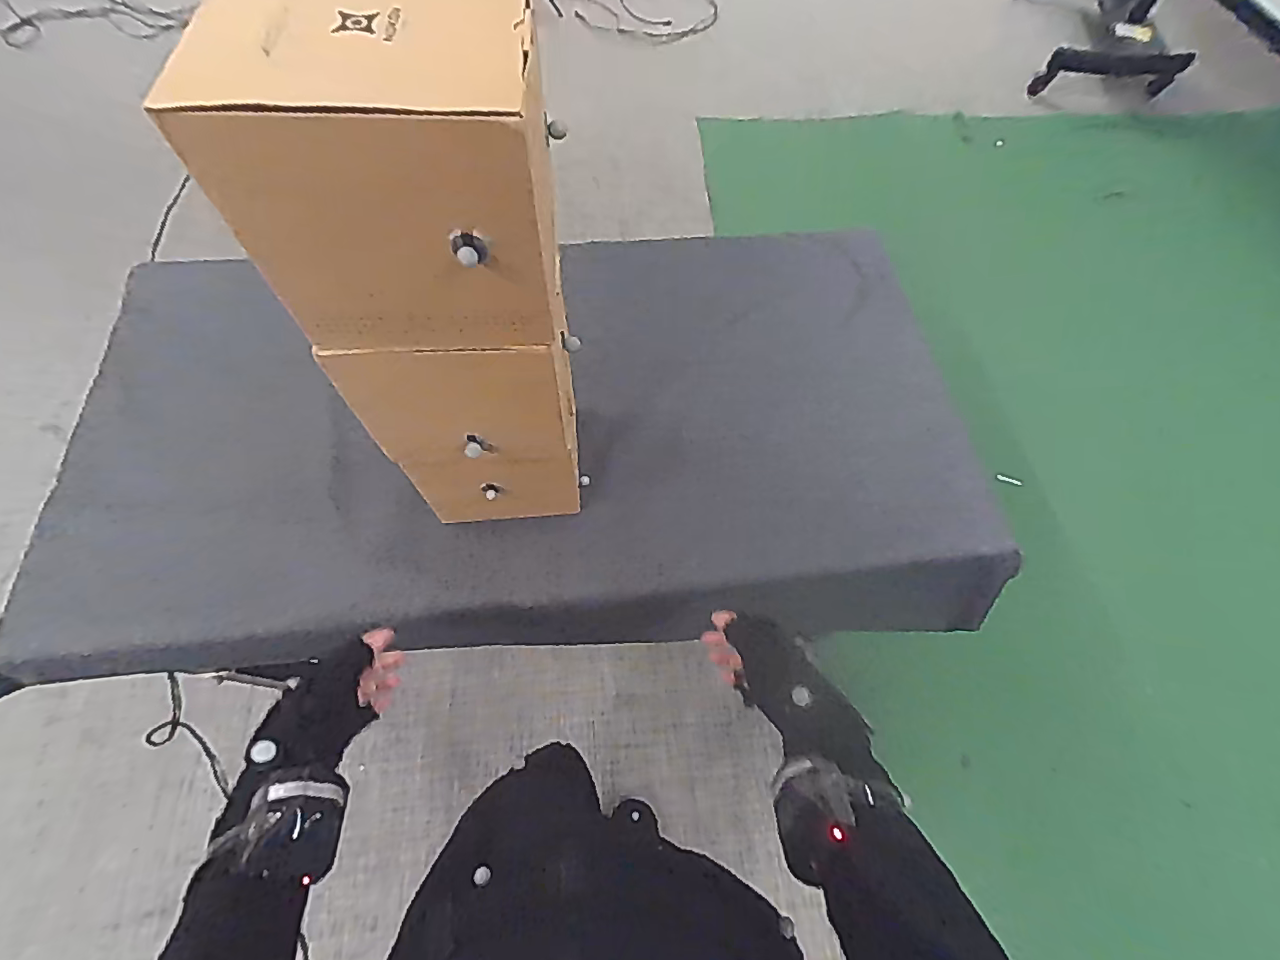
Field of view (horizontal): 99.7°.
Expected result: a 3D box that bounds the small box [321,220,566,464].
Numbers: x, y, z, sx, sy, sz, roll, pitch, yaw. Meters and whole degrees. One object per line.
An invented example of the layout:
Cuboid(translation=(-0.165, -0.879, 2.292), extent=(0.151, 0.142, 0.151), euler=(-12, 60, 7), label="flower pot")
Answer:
Cuboid(translation=(-0.161, -0.126, 0.513), extent=(0.179, 0.176, 0.168), euler=(-3, 63, -5), label="small box")

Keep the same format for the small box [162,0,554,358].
Cuboid(translation=(-0.152, -0.201, 0.370), extent=(0.179, 0.176, 0.168), euler=(-4, 63, -4), label="small box")

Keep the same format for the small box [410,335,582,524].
Cuboid(translation=(-0.165, -0.057, 0.661), extent=(0.179, 0.176, 0.168), euler=(-7, 64, -7), label="small box")
